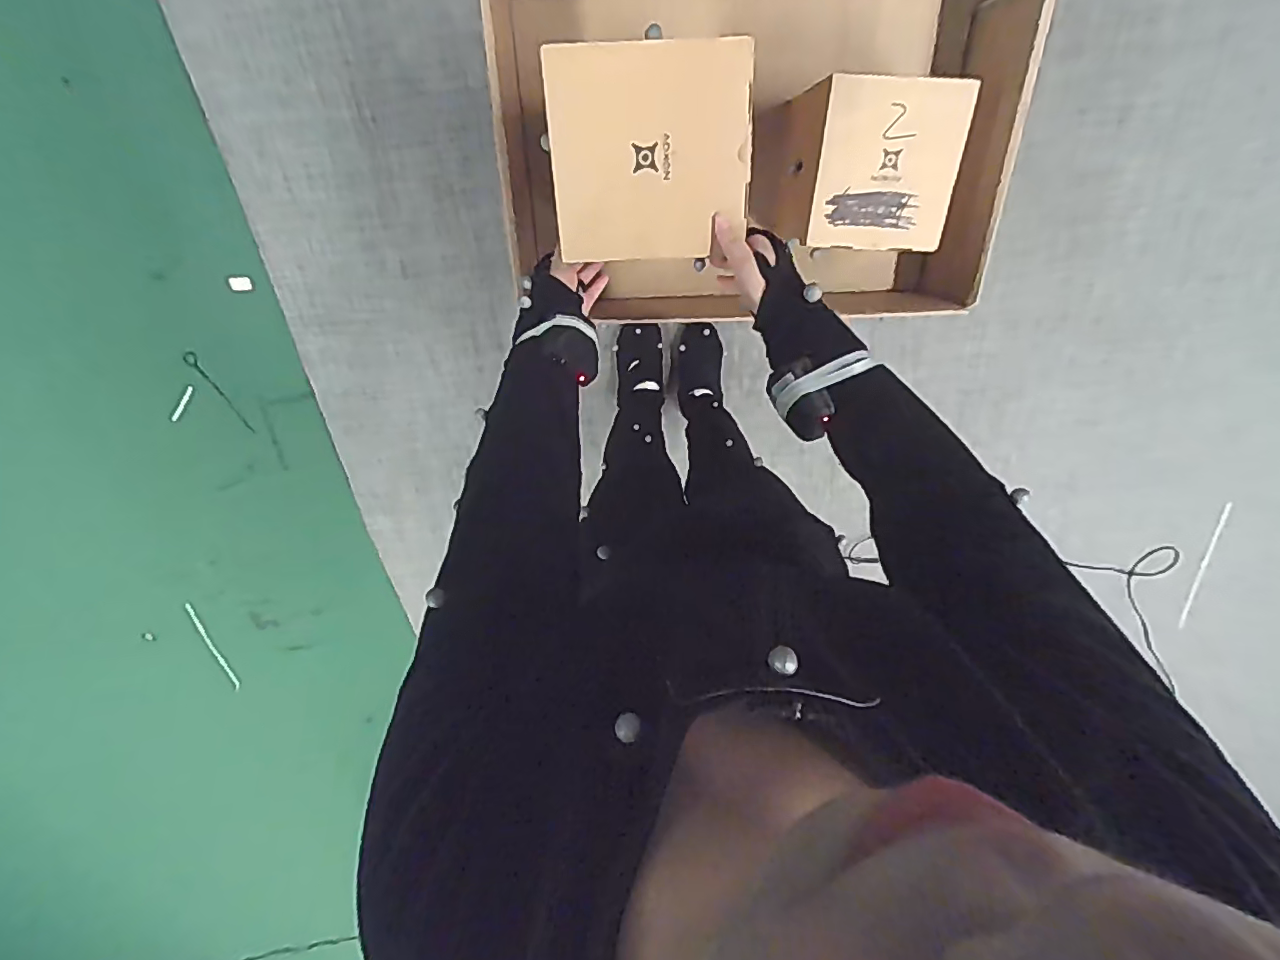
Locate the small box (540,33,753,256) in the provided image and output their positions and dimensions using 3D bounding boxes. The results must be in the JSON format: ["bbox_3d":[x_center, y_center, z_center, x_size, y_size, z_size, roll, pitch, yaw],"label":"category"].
[{"bbox_3d":[0.004,-0.320,0.542,0.179,0.176,0.168,-4,117,-2],"label":"small box"}]
